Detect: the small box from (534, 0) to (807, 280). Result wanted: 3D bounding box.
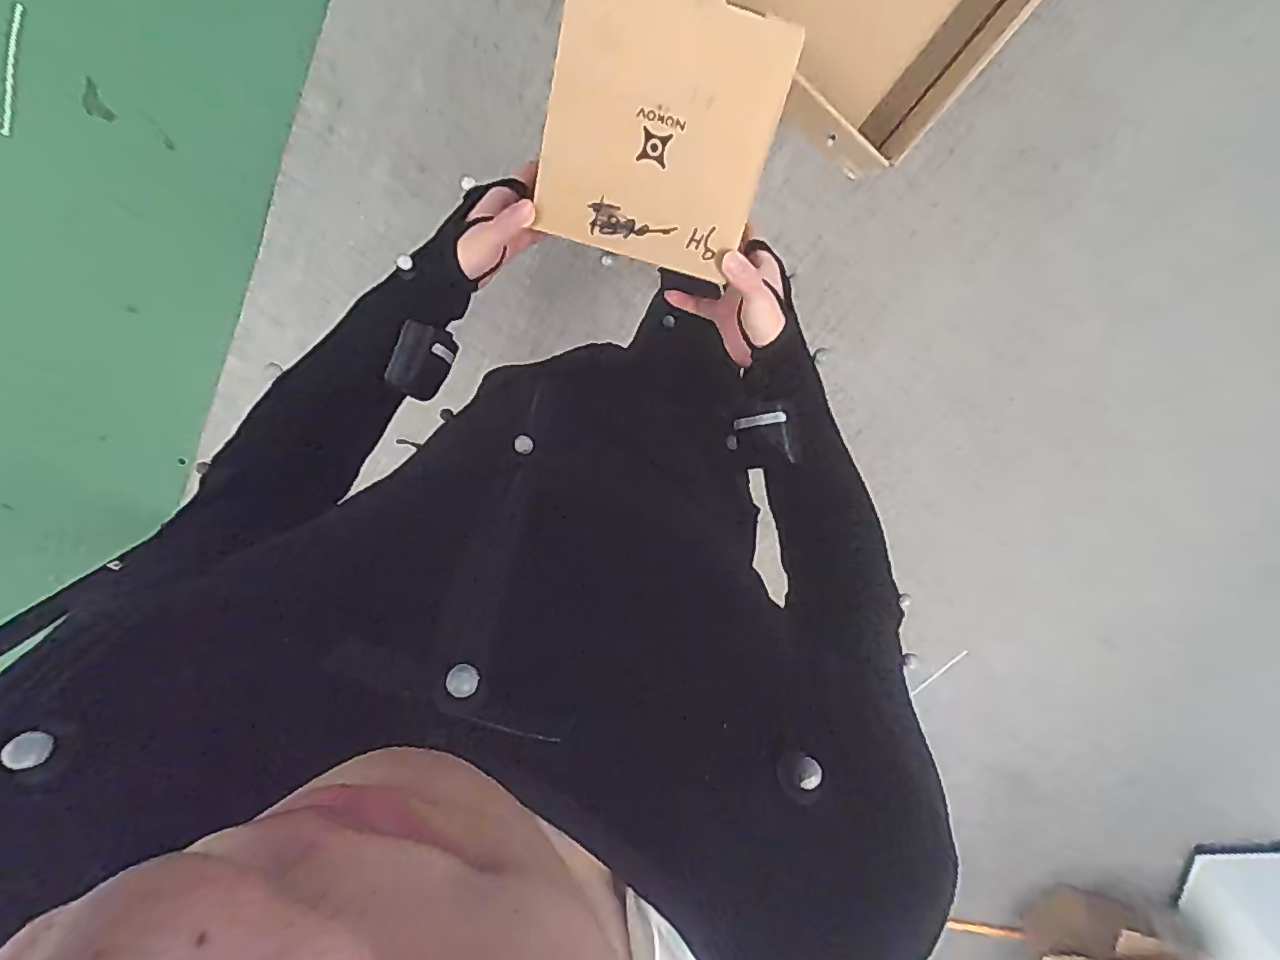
[{"bbox_3d":[0.017,-0.293,0.472,0.168,0.176,0.179,14,115,-6],"label":"small box"}]
